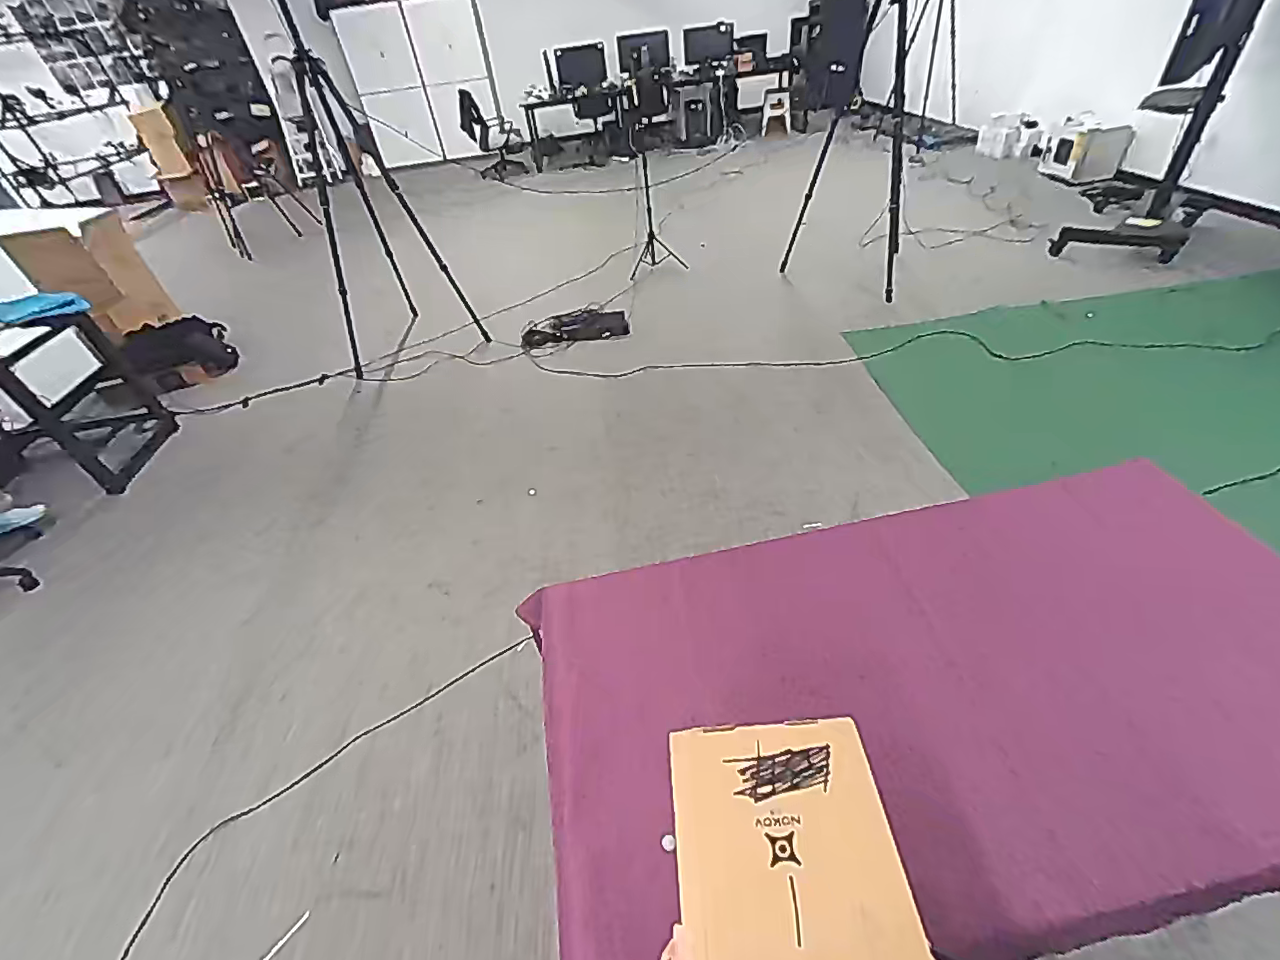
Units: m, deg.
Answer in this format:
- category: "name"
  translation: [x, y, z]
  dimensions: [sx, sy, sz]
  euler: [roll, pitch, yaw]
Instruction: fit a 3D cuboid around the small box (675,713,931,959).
- category: "small box"
  translation: [0.121, 0.333, 0.477]
  dimensions: [0.168, 0.176, 0.179]
  euler: [-7, 41, 4]
